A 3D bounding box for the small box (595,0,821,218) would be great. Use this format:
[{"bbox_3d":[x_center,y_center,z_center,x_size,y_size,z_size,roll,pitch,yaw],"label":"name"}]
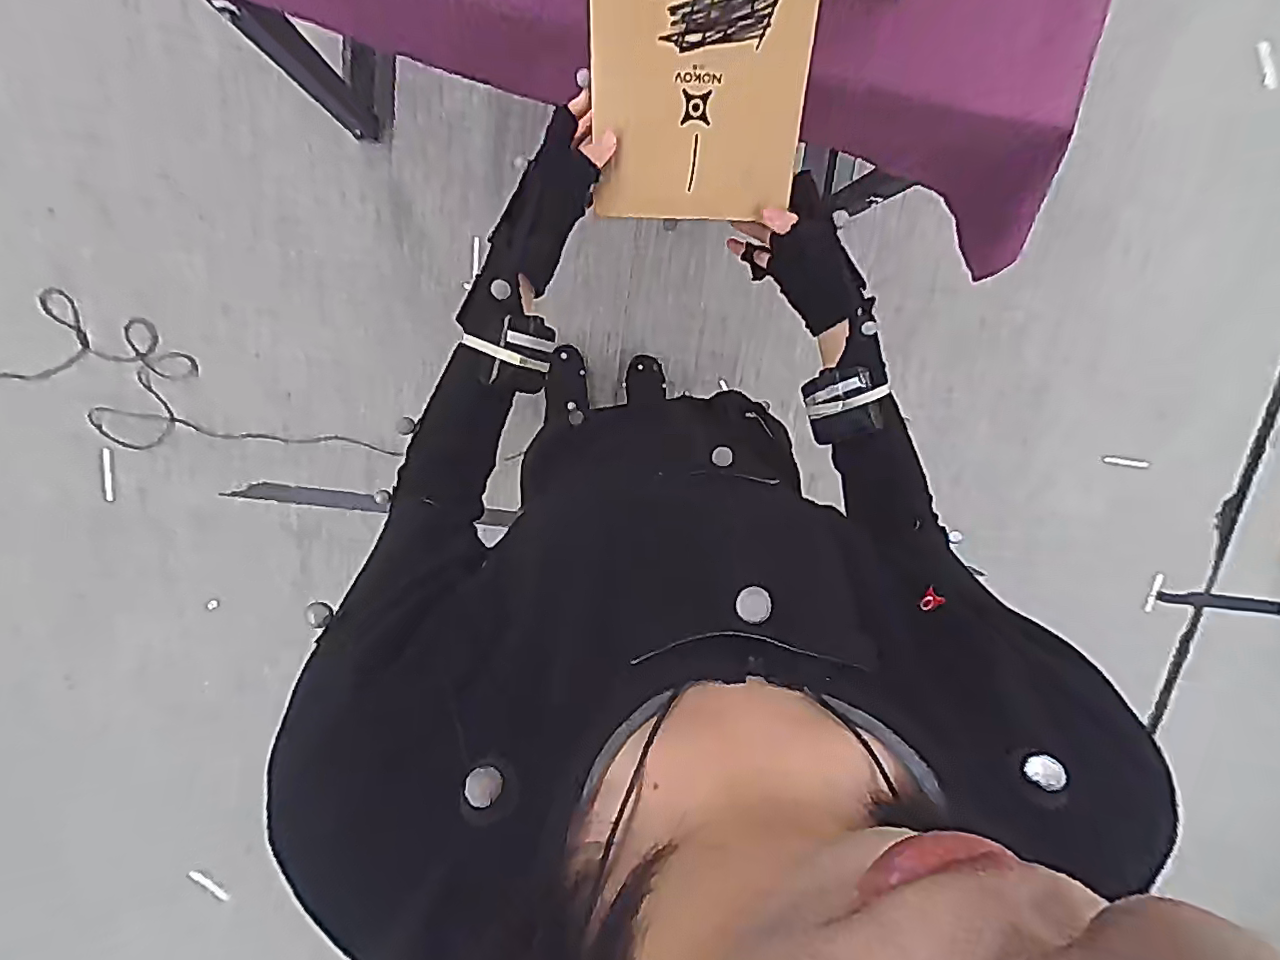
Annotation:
[{"bbox_3d":[0.043,-0.334,0.480,0.168,0.176,0.179,0,118,-3],"label":"small box"}]
